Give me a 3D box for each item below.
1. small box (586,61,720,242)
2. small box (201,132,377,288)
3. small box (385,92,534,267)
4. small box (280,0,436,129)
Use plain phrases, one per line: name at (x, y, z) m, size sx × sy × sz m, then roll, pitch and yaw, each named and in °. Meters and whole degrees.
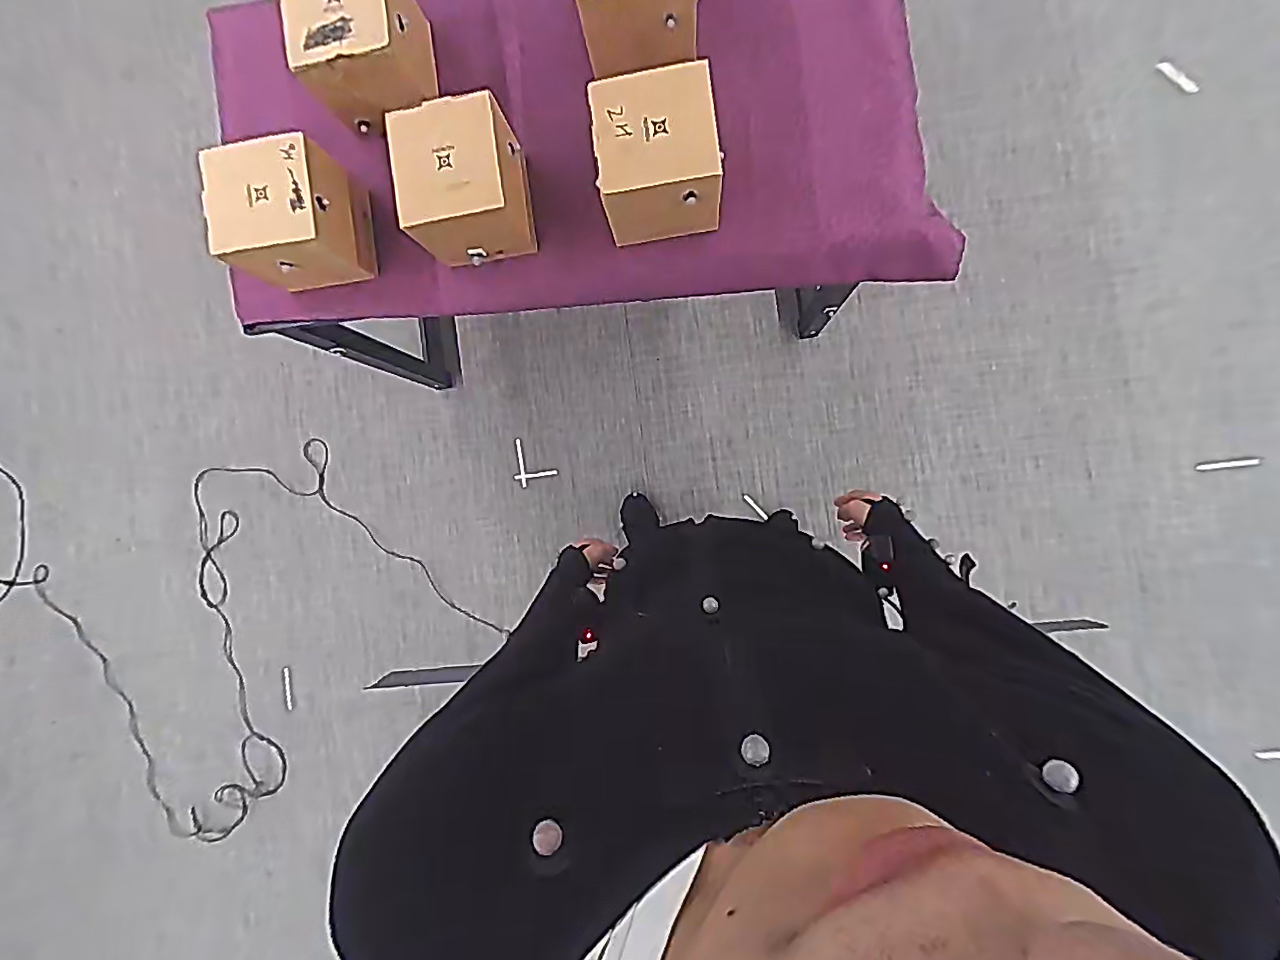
small box at (0.025, -0.494, 0.840) m, size 0.179 × 0.176 × 0.168 m, roll -7°, pitch 89°, yaw 6°
small box at (-0.574, -0.435, 0.901) m, size 0.179 × 0.176 × 0.168 m, roll -7°, pitch 90°, yaw 6°
small box at (-0.282, -0.472, 0.875) m, size 0.168 × 0.176 × 0.179 m, roll -8°, pitch 91°, yaw 6°
small box at (-0.455, -0.716, 0.892) m, size 0.168 × 0.176 × 0.179 m, roll -8°, pitch 89°, yaw 5°
